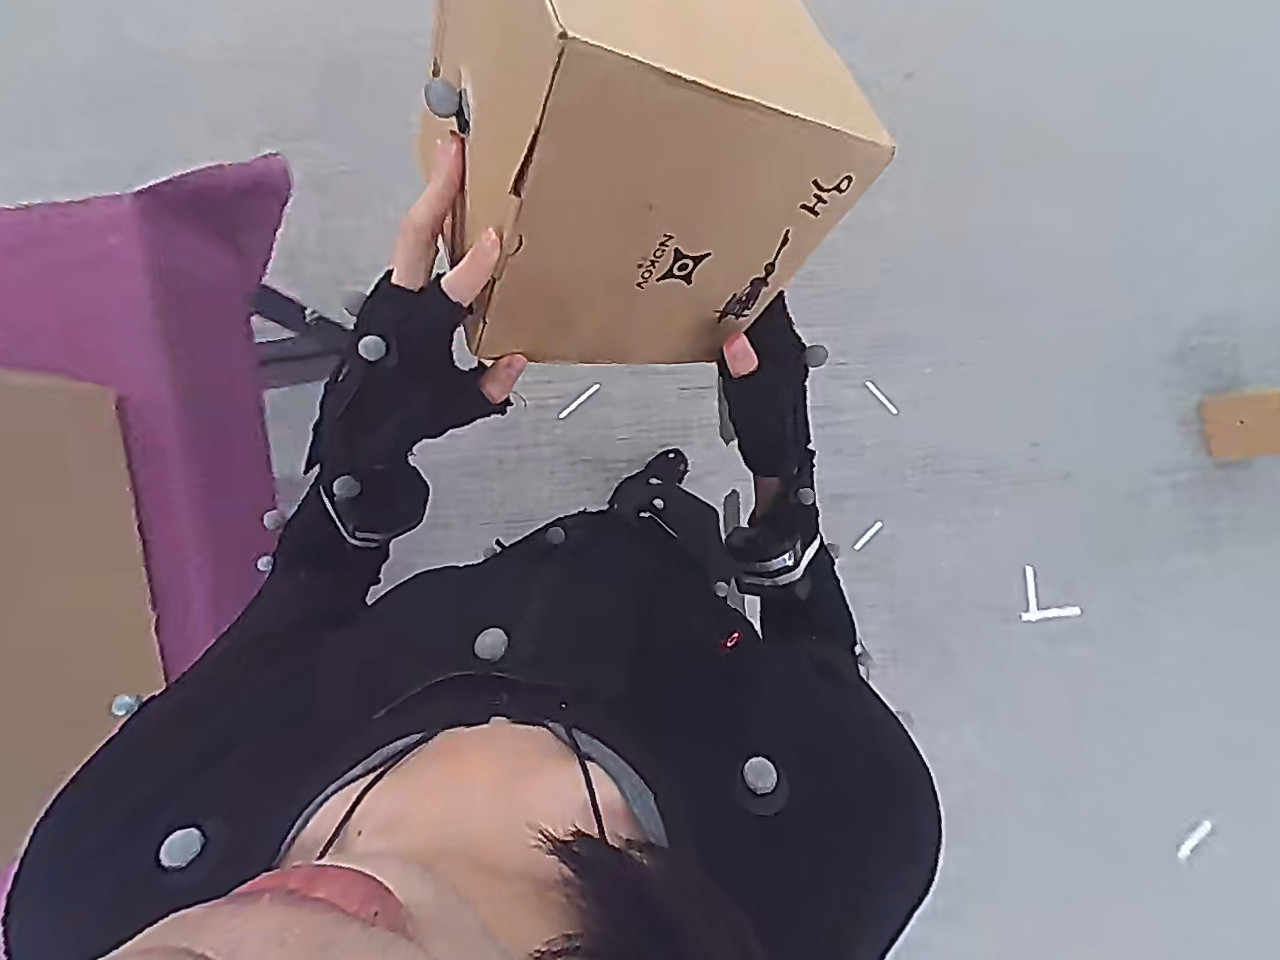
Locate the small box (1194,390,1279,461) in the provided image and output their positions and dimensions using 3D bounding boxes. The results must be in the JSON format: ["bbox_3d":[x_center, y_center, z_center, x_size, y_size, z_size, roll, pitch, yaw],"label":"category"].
[{"bbox_3d":[1.720,-0.151,1.506,0.168,0.176,0.179,-12,89,-3],"label":"small box"}]

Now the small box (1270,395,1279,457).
[{"bbox_3d":[1.740,-0.149,1.345,0.179,0.176,0.168,-8,91,-3],"label":"small box"}]

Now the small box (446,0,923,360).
[{"bbox_3d":[0.001,-0.188,0.297,0.179,0.168,0.176,-4,66,-30],"label":"small box"}]
